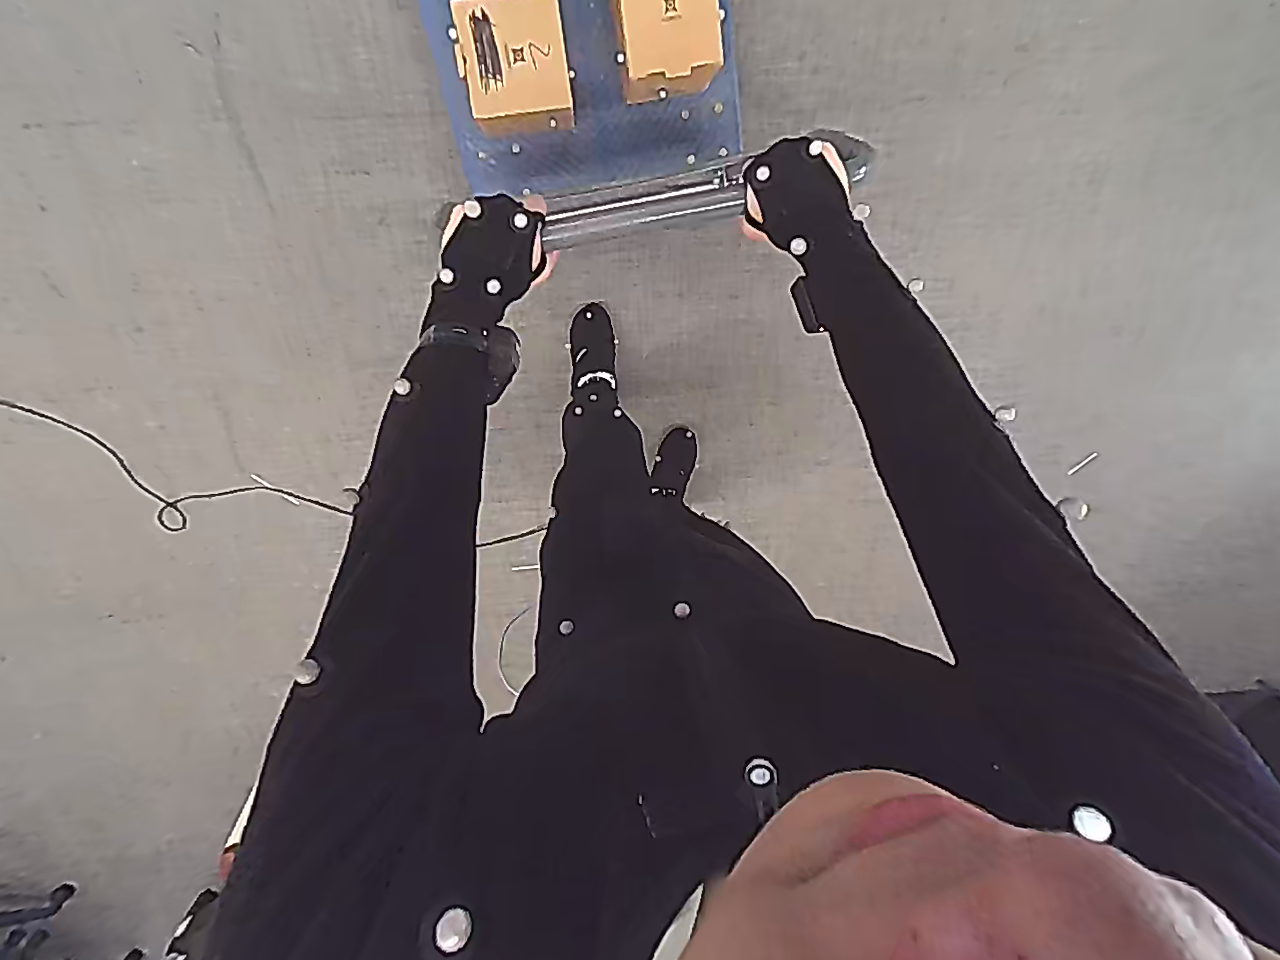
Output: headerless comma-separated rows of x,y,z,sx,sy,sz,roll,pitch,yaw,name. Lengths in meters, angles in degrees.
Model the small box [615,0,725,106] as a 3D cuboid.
0.050,-0.820,0.990,0.168,0.176,0.179,-11,113,-1,small box
